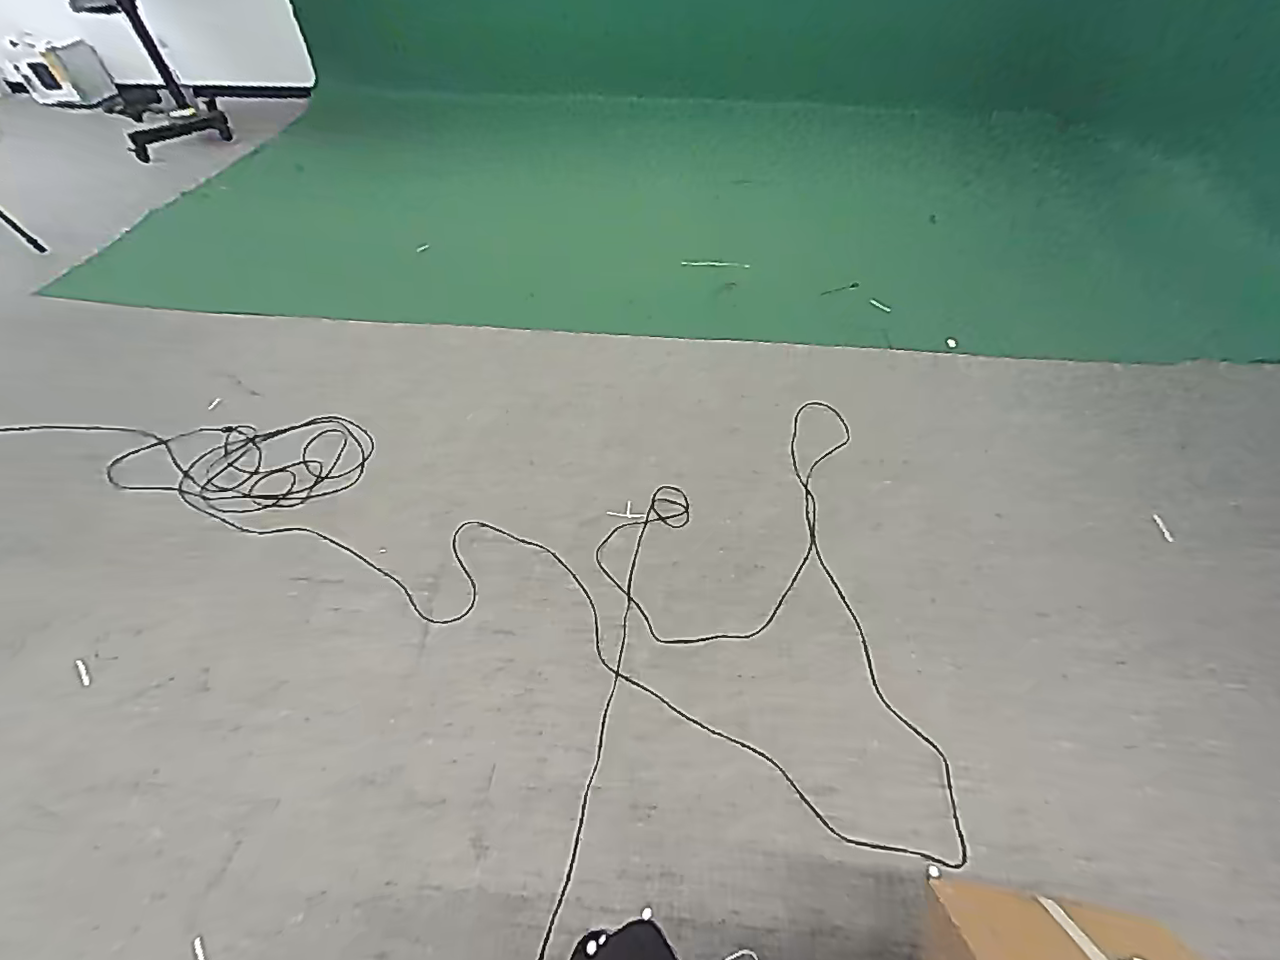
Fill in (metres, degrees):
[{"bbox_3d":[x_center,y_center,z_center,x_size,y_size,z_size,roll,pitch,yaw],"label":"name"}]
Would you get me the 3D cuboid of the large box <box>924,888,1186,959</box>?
[{"bbox_3d":[0.541,0.757,0.584,0.320,0.408,0.320,7,86,8],"label":"large box"}]
